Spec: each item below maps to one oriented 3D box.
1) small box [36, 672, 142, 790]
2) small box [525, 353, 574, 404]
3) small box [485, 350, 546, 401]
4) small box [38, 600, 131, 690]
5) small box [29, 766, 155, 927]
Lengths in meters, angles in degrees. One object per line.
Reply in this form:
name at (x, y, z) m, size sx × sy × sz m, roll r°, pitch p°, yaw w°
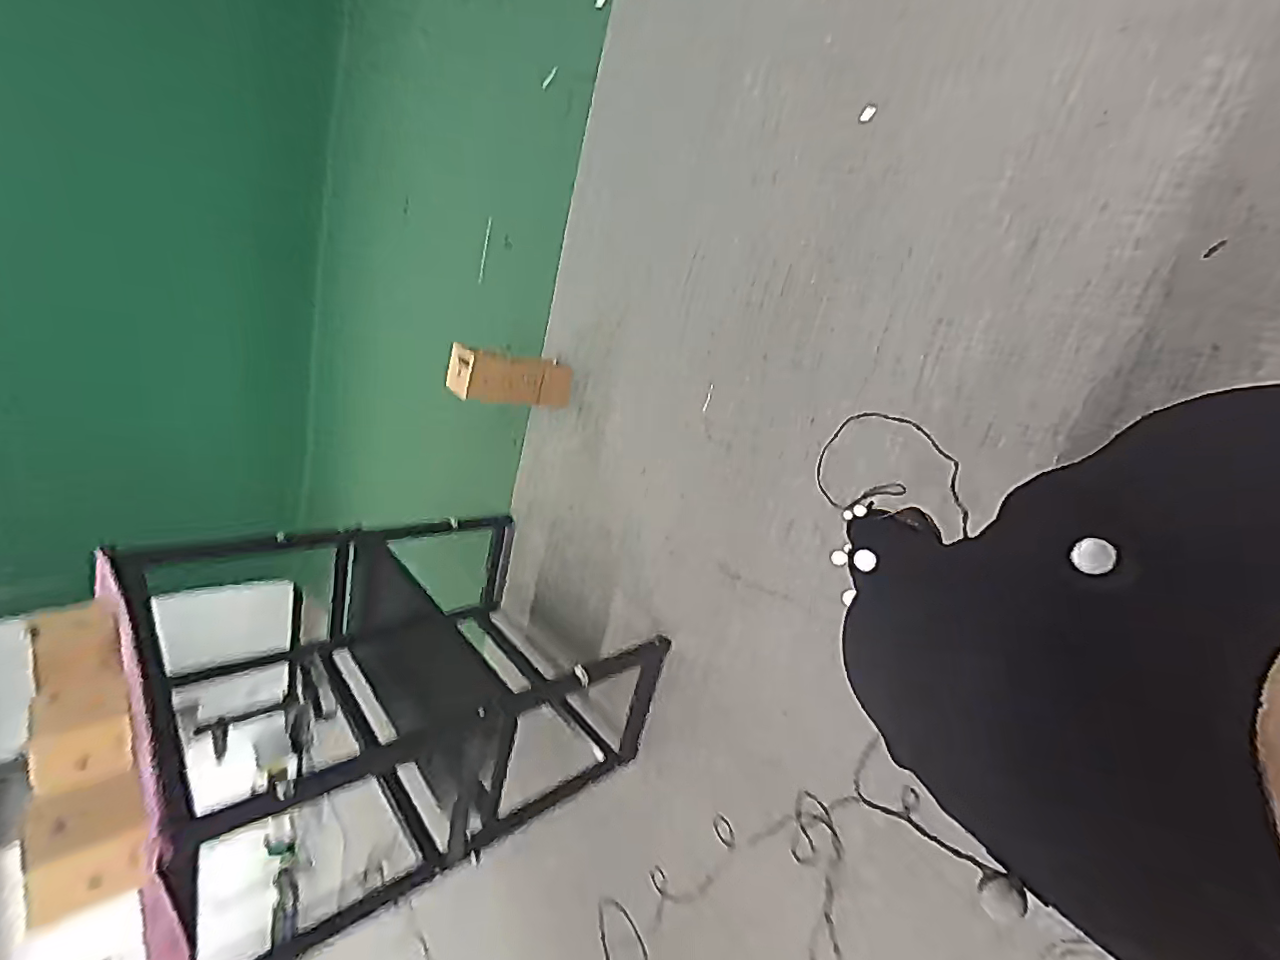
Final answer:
small box at (-1.345, 0.604, 1.328) m, size 0.179 × 0.176 × 0.168 m, roll 29°, pitch 114°, yaw 40°
small box at (-0.413, -0.445, 2.389) m, size 0.168 × 0.176 × 0.179 m, roll 33°, pitch 114°, yaw 37°
small box at (-0.520, -0.435, 2.268) m, size 0.179 × 0.176 × 0.168 m, roll 32°, pitch 113°, yaw 38°
small box at (-1.594, 0.471, 1.554) m, size 0.168 × 0.176 × 0.179 m, roll 36°, pitch 118°, yaw 35°
small box at (-1.097, 0.721, 1.090) m, size 0.179 × 0.176 × 0.168 m, roll 29°, pitch 111°, yaw 40°
